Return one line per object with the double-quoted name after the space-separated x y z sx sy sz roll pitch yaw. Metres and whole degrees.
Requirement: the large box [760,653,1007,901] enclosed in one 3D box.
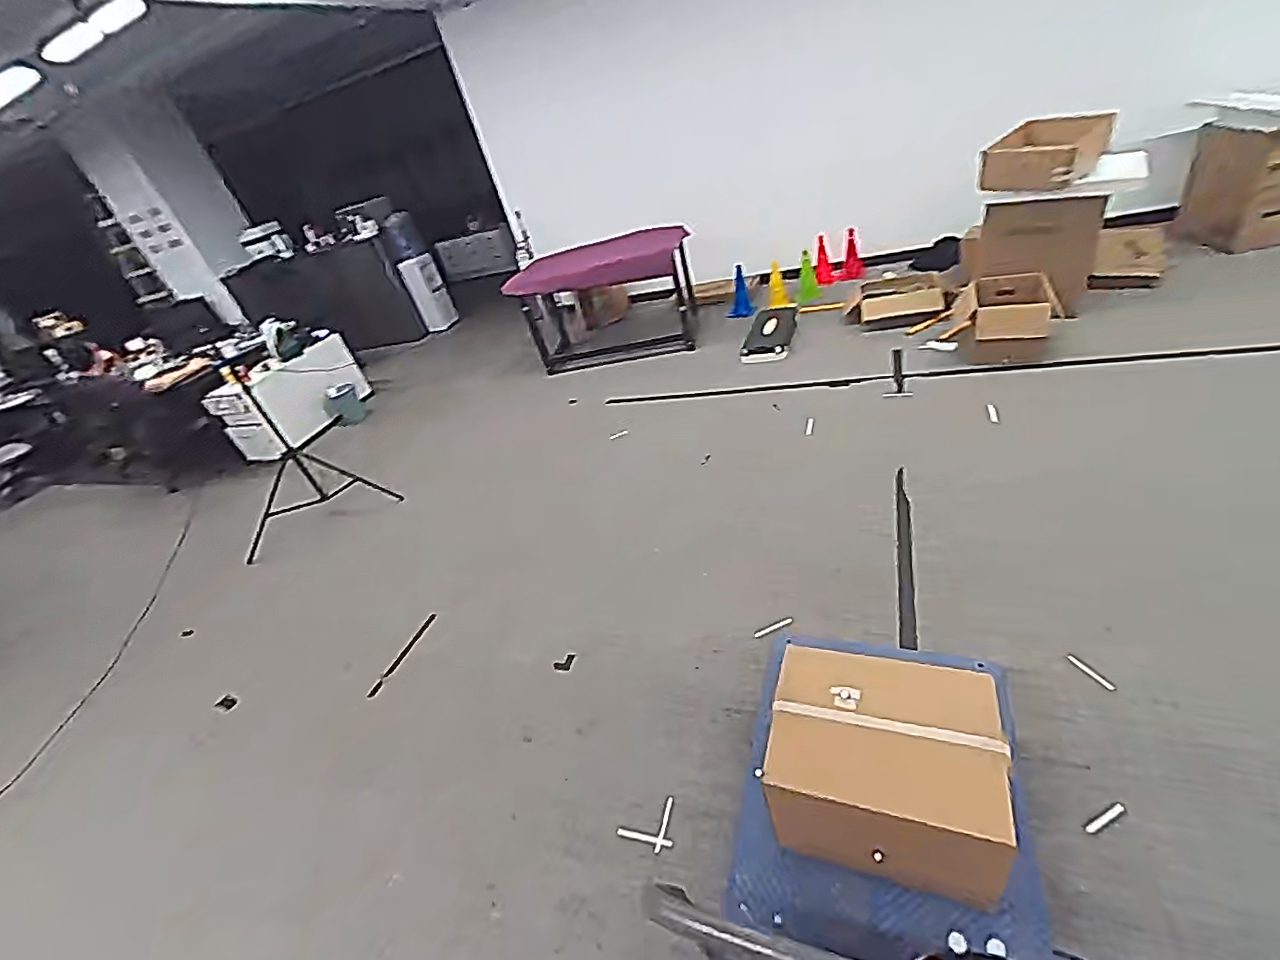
0.497 0.603 1.134 0.408 0.320 0.320 -1 37 25 "large box"
